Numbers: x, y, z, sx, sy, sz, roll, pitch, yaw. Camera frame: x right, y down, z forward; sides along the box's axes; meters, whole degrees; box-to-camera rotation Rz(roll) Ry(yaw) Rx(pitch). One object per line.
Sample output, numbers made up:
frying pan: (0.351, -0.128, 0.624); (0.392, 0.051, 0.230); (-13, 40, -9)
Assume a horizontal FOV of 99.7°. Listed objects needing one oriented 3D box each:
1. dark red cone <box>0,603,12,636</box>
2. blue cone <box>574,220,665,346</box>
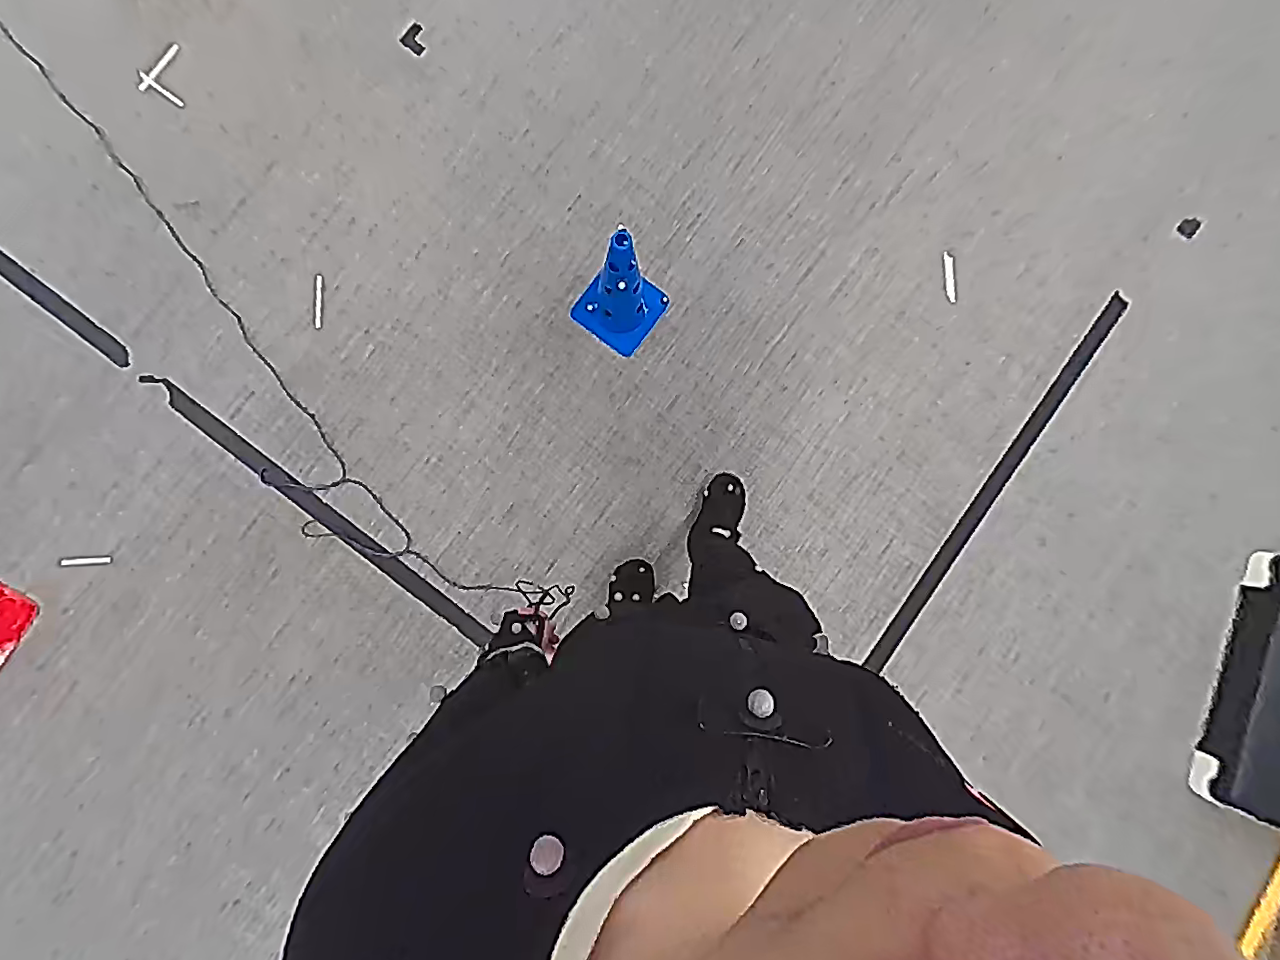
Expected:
dark red cone: (-1.603, 0.339, 1.111); (0.202, 0.394, 0.201); (29, 85, 0)
blue cone: (-0.047, -0.472, 1.243); (0.193, 0.380, 0.192); (38, 85, 0)
